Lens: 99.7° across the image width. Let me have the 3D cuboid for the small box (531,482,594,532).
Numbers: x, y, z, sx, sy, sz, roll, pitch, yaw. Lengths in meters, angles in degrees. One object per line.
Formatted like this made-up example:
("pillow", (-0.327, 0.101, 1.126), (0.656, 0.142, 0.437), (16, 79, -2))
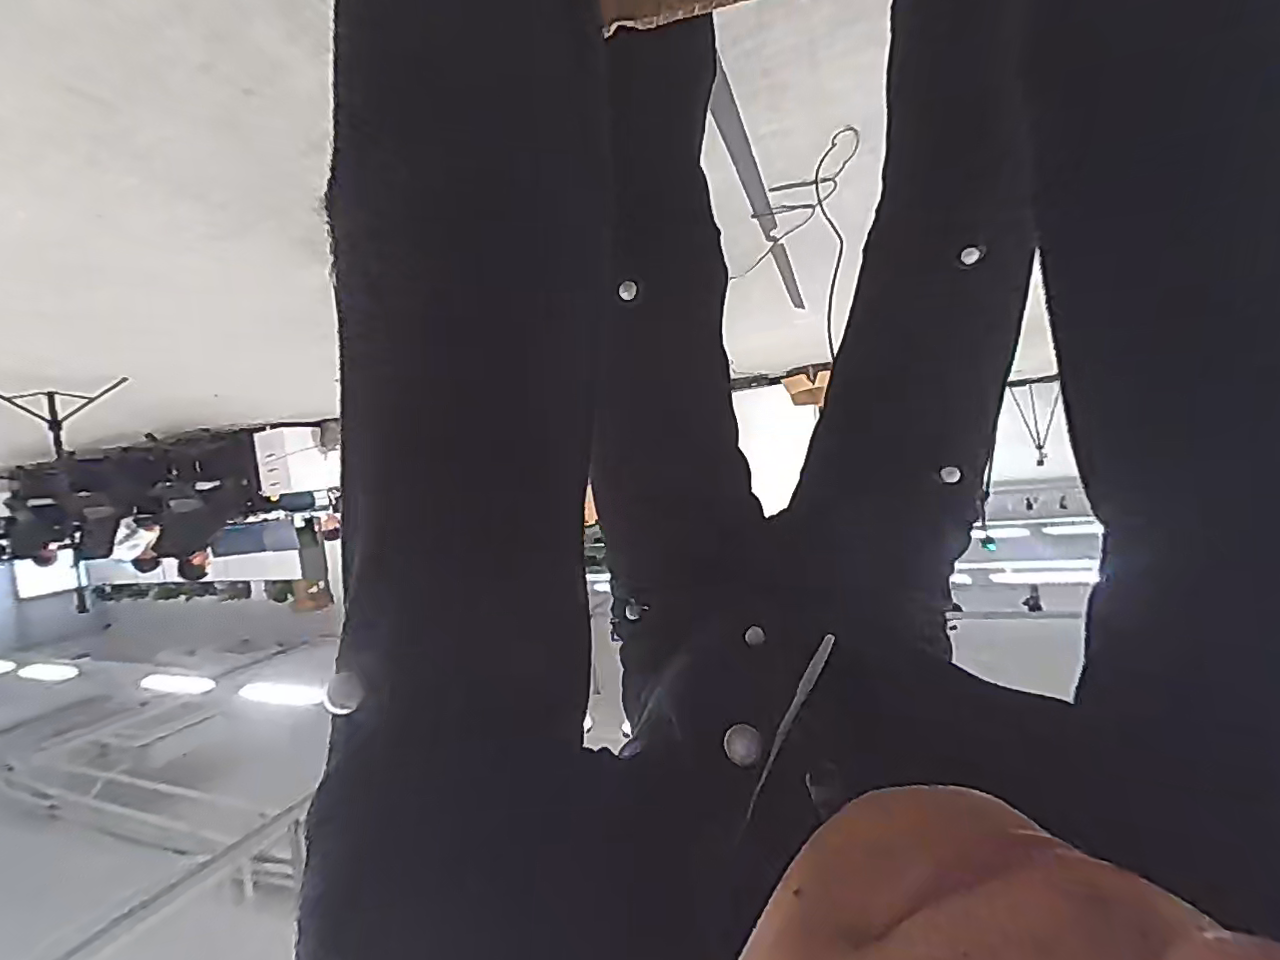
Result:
("small box", (-0.301, 0.098, 2.089), (0.179, 0.176, 0.168), (-5, -178, 25))
